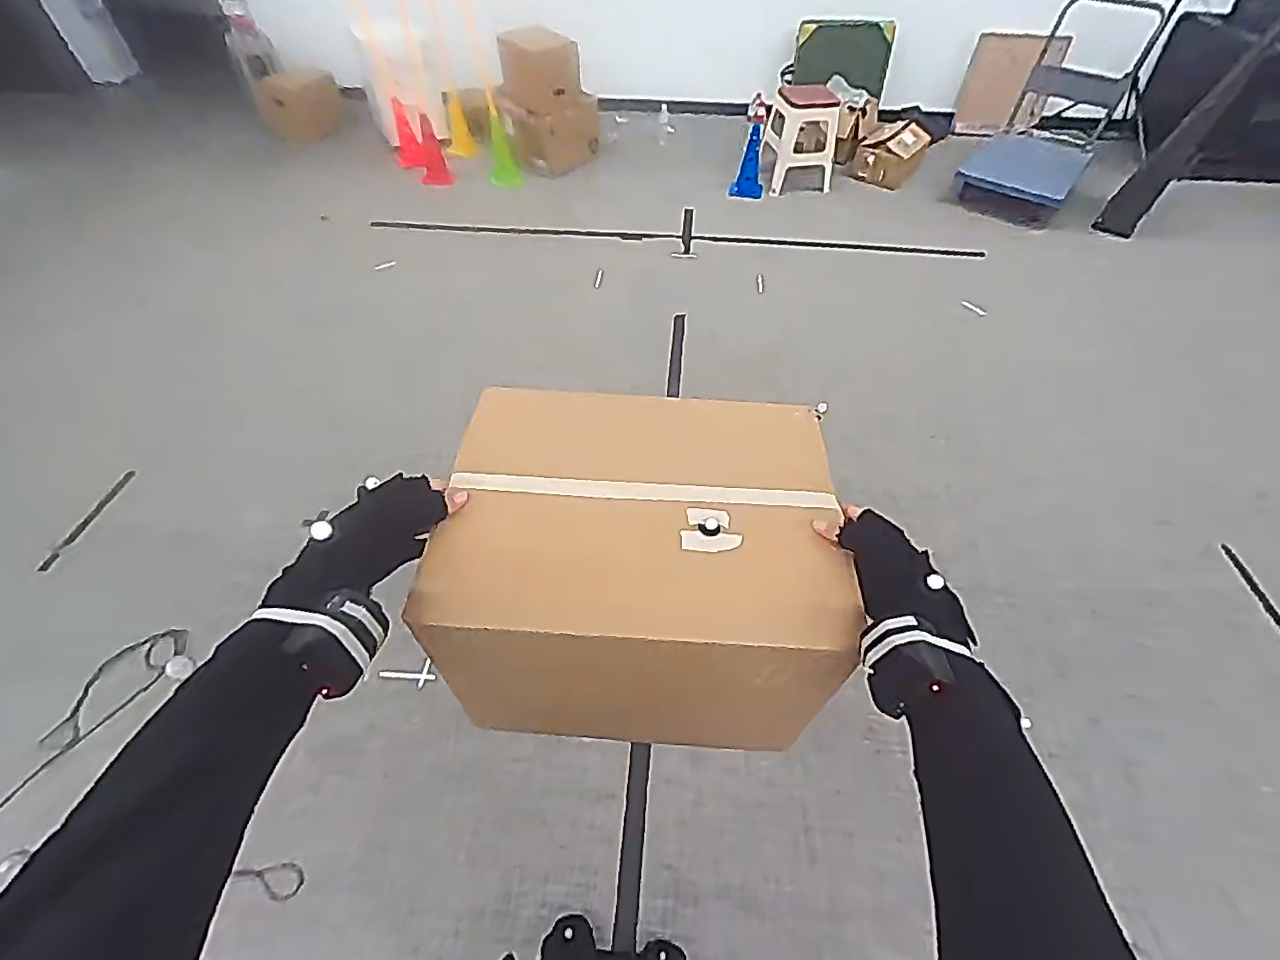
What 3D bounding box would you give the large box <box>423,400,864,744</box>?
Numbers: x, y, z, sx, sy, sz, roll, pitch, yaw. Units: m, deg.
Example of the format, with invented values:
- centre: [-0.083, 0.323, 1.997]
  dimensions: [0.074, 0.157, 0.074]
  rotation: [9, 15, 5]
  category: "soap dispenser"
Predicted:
- centre: [0.002, 0.121, 0.687]
  dimensions: [0.408, 0.320, 0.320]
  rotation: [4, 49, 0]
  category: "large box"
